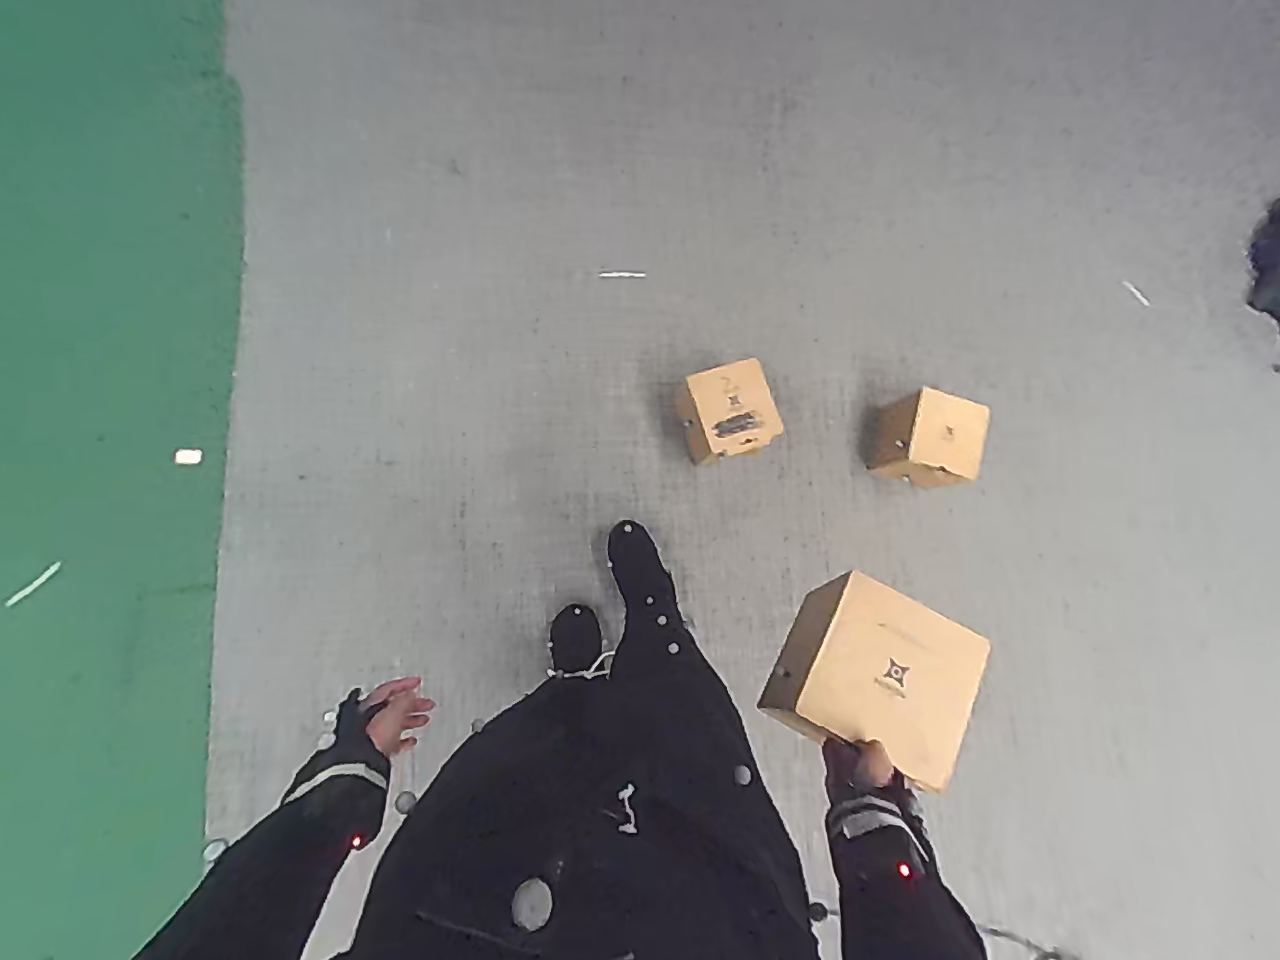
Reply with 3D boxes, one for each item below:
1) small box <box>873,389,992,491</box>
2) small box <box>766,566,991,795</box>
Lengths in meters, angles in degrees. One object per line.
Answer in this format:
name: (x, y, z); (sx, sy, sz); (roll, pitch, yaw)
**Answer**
small box: (0.671, -0.085, 1.257); (0.168, 0.176, 0.179); (17, 81, -4)
small box: (0.266, 0.232, 0.642); (0.168, 0.176, 0.179); (28, 69, 8)
